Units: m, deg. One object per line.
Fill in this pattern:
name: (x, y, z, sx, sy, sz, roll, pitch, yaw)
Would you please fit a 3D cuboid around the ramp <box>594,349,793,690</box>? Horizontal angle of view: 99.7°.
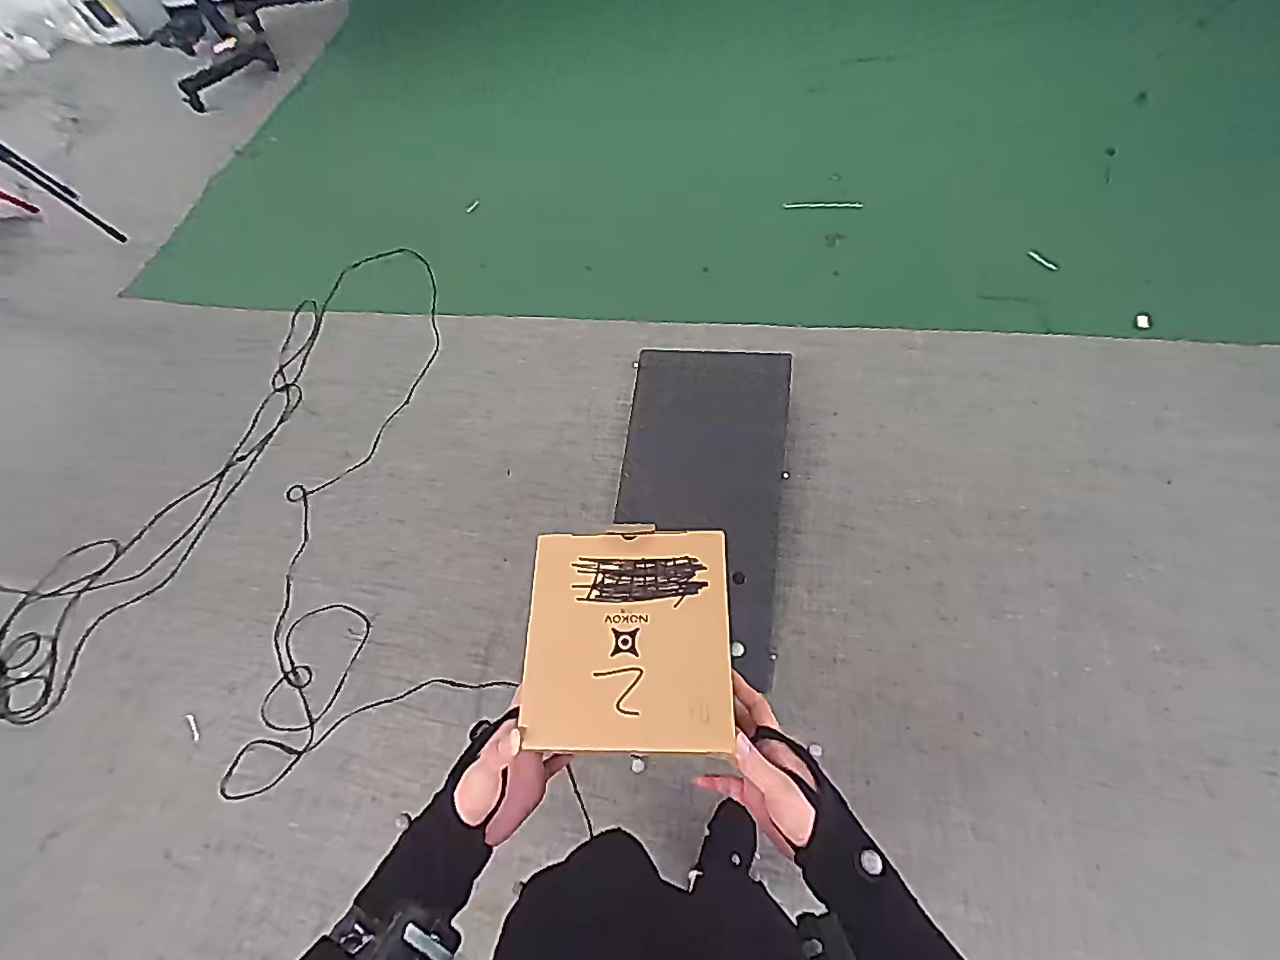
ramp: (0.175, 0.063, 1.604, 0.509, 0.206, 0.991, 4, 64, 11)
